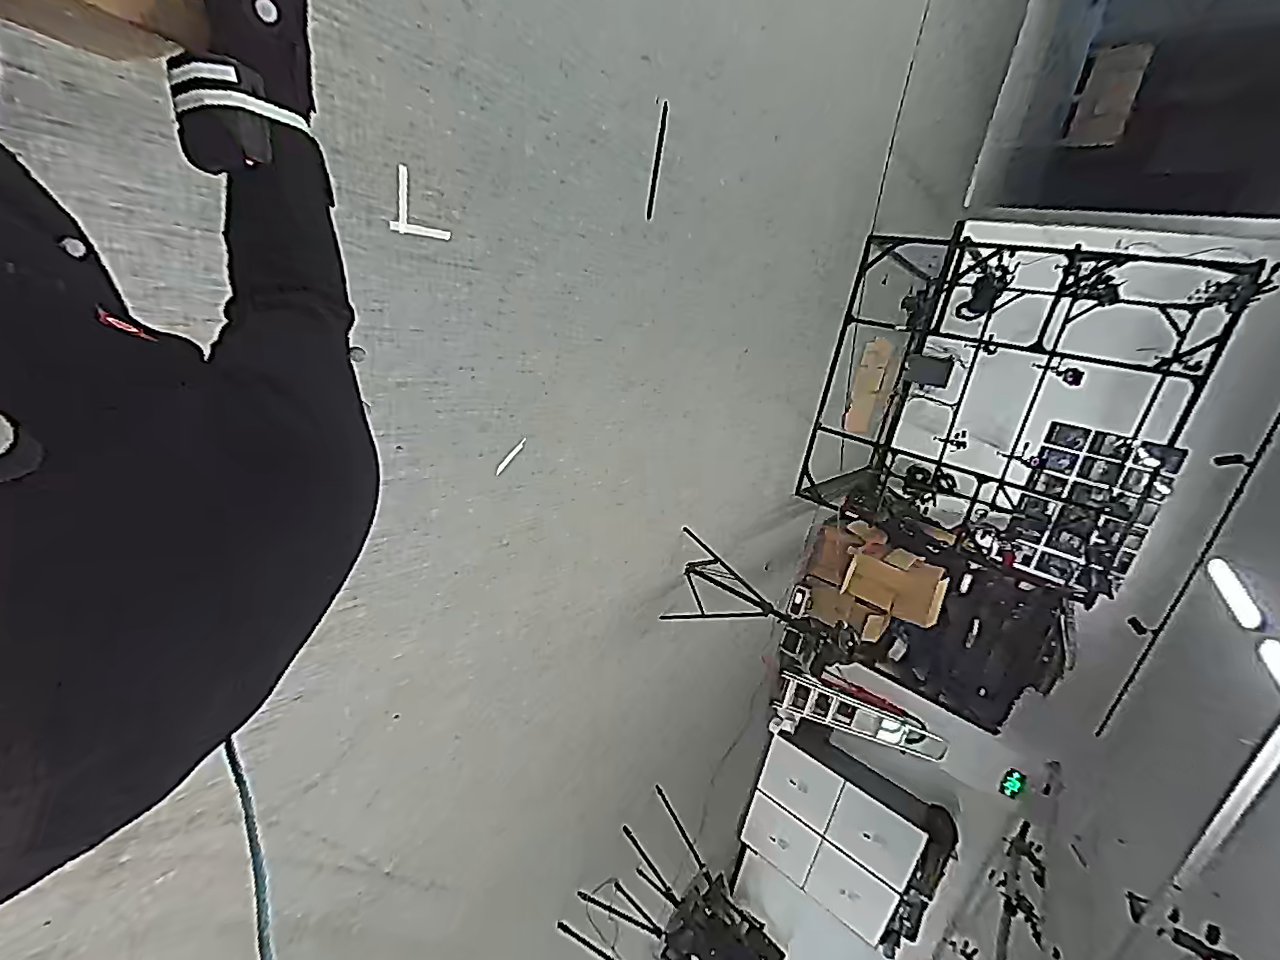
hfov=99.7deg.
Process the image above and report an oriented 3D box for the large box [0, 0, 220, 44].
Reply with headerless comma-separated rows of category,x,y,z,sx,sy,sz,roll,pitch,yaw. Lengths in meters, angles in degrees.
large box,-0.503,-0.500,0.269,0.408,0.320,0.320,-9,122,-53
